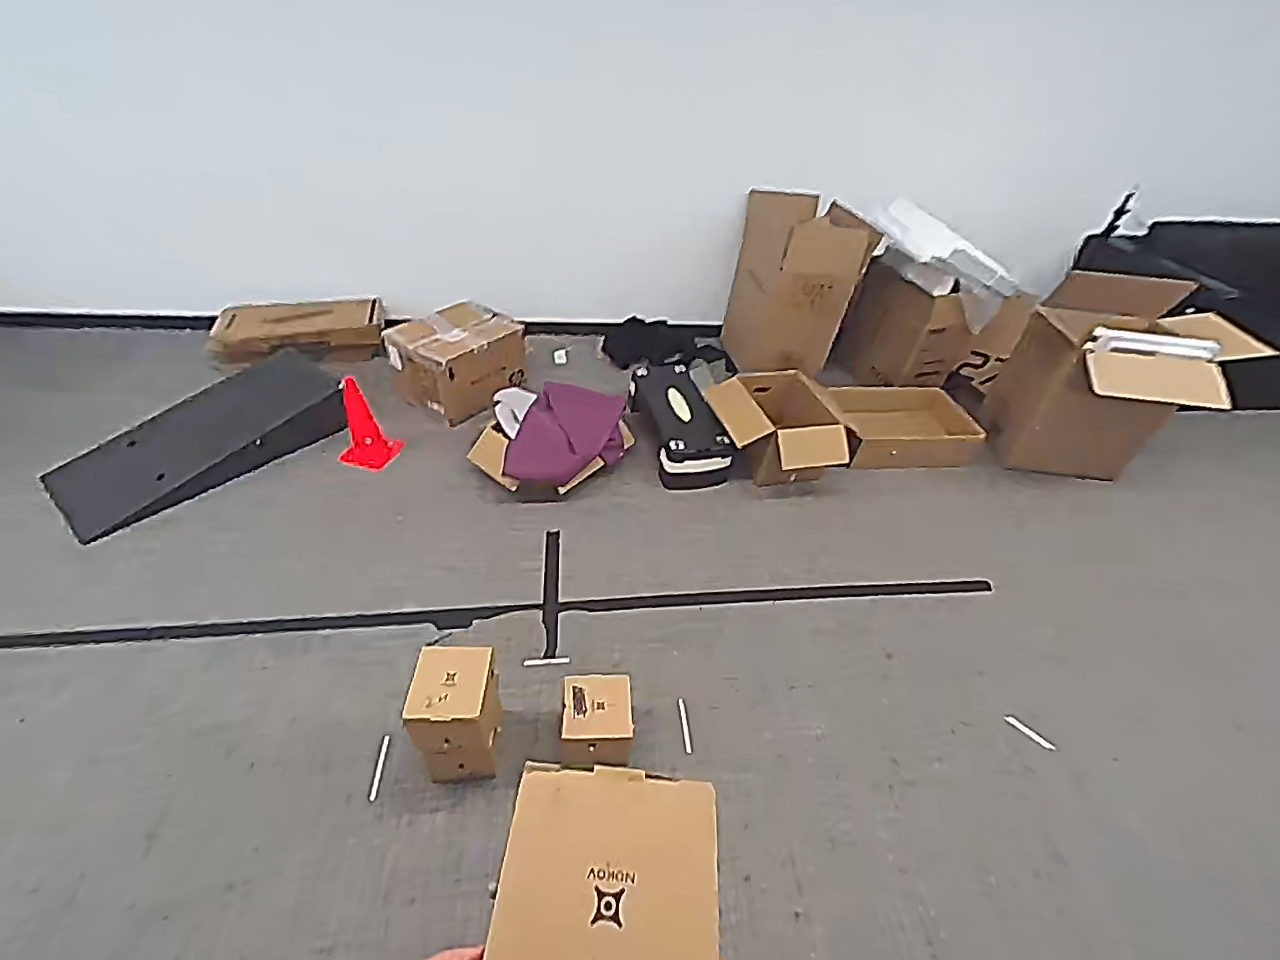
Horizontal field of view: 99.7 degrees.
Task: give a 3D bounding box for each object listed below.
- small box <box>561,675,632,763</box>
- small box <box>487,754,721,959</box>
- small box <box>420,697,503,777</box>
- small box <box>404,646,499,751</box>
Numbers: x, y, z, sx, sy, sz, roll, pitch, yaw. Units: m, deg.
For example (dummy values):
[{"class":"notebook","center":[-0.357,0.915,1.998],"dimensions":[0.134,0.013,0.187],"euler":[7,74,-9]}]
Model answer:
[{"class":"small box","center":[-0.114,0.633,1.426],"dimensions":[0.179,0.176,0.168],"euler":[2,42,-6]},{"class":"small box","center":[-0.028,0.361,0.460],"dimensions":[0.168,0.176,0.179],"euler":[6,45,0]},{"class":"small box","center":[-0.446,0.639,1.379],"dimensions":[0.168,0.176,0.179],"euler":[-2,43,-8]},{"class":"small box","center":[-0.432,0.513,1.271],"dimensions":[0.168,0.176,0.179],"euler":[2,42,-4]}]
